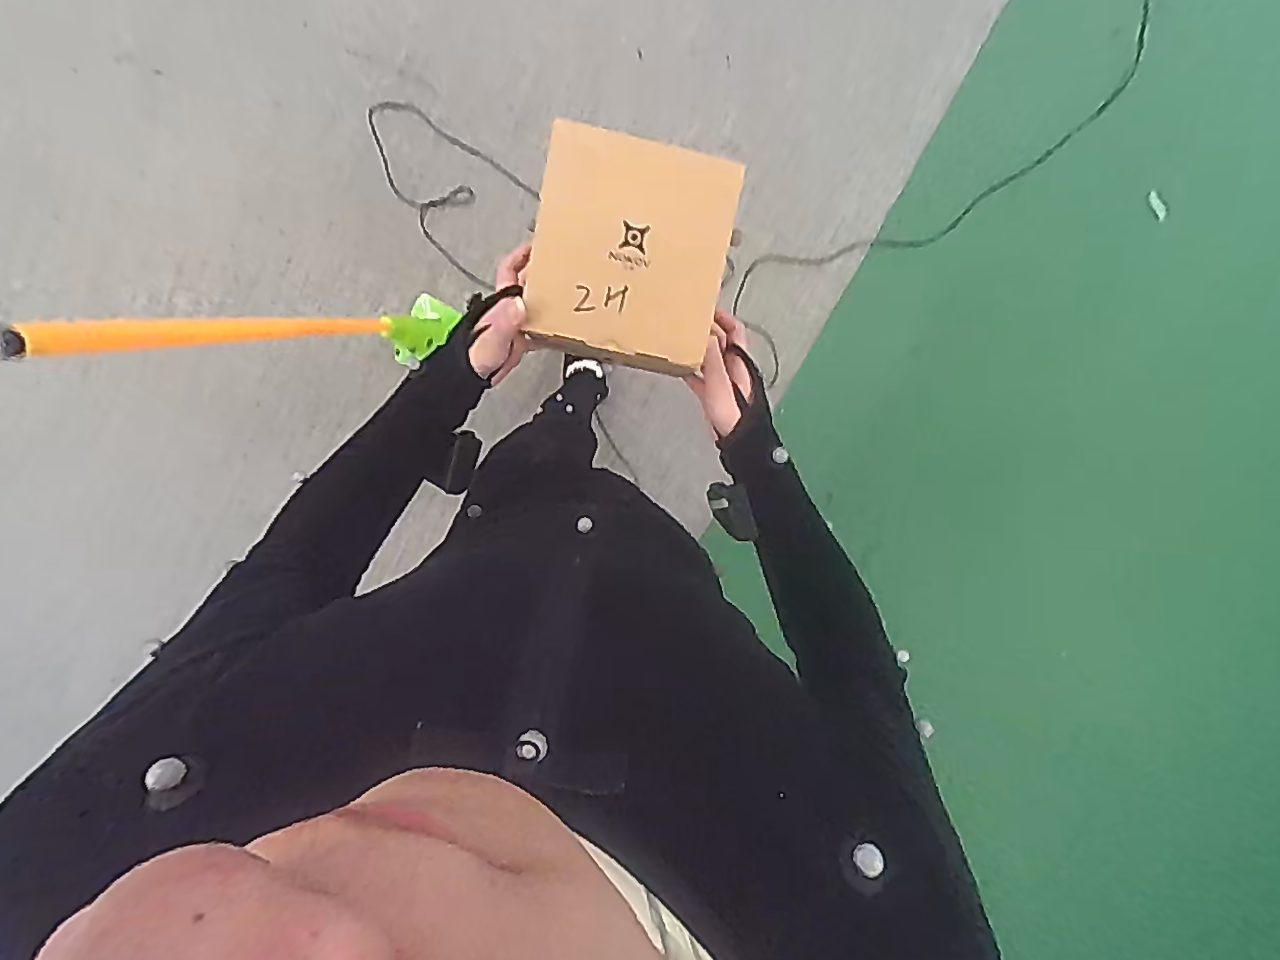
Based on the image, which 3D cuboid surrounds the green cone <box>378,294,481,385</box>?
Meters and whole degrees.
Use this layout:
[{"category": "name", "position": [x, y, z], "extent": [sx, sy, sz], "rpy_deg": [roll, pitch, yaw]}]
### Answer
[{"category": "green cone", "position": [-0.559, -0.367, 1.349], "extent": [0.200, 0.368, 0.202], "rpy_deg": [28, 96, -8]}]

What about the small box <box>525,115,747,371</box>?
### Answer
[{"category": "small box", "position": [-0.008, -0.218, 0.550], "extent": [0.168, 0.176, 0.179], "rpy_deg": [12, 98, -4]}]
